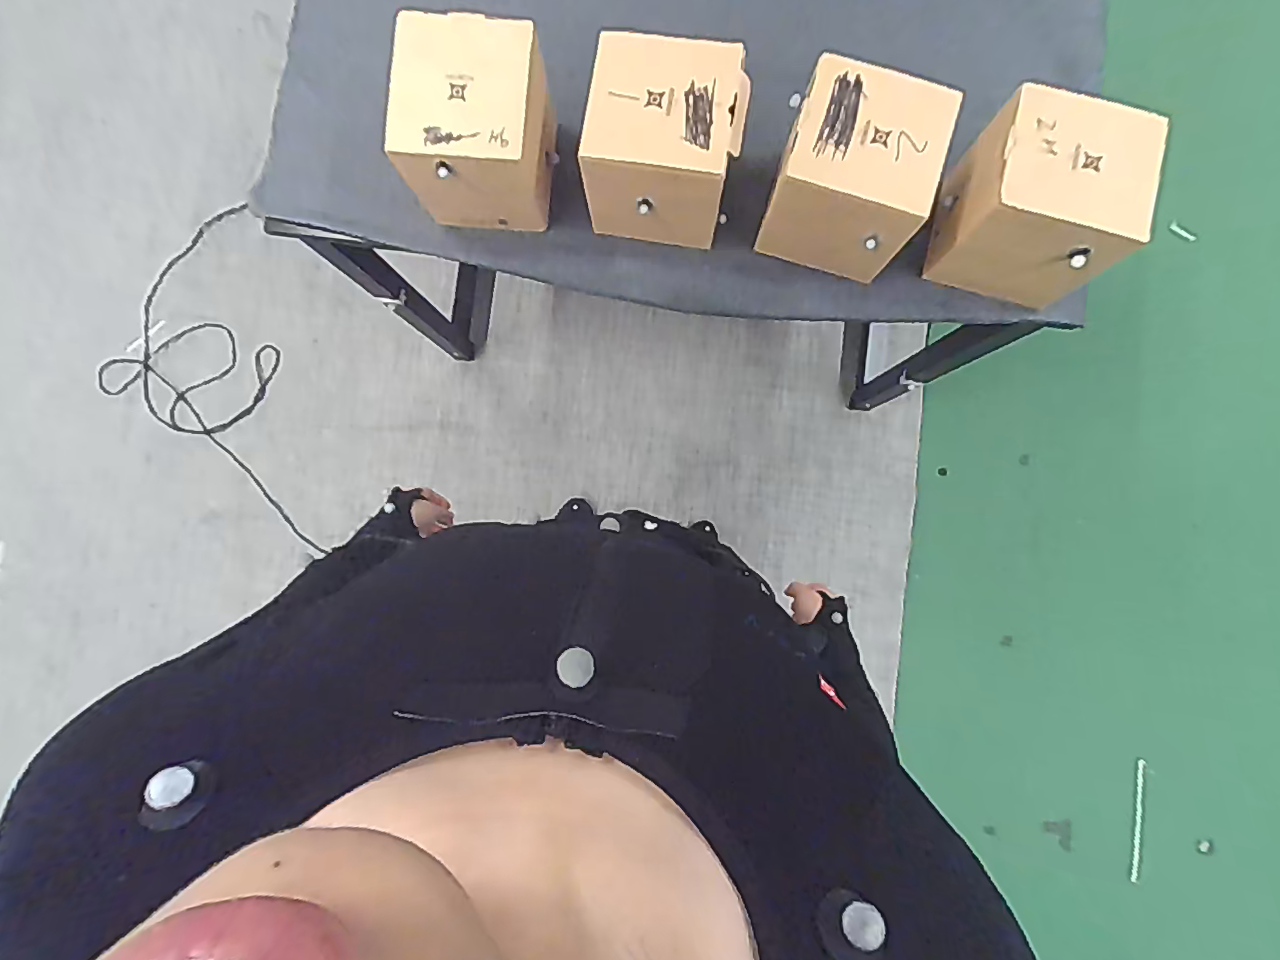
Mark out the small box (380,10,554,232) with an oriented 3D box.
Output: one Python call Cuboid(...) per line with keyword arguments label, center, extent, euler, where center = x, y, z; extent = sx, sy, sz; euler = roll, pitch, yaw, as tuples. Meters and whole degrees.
Cuboid(label="small box", center=(-0.215, -0.462, 0.717), extent=(0.168, 0.176, 0.179), euler=(5, 87, 2))
